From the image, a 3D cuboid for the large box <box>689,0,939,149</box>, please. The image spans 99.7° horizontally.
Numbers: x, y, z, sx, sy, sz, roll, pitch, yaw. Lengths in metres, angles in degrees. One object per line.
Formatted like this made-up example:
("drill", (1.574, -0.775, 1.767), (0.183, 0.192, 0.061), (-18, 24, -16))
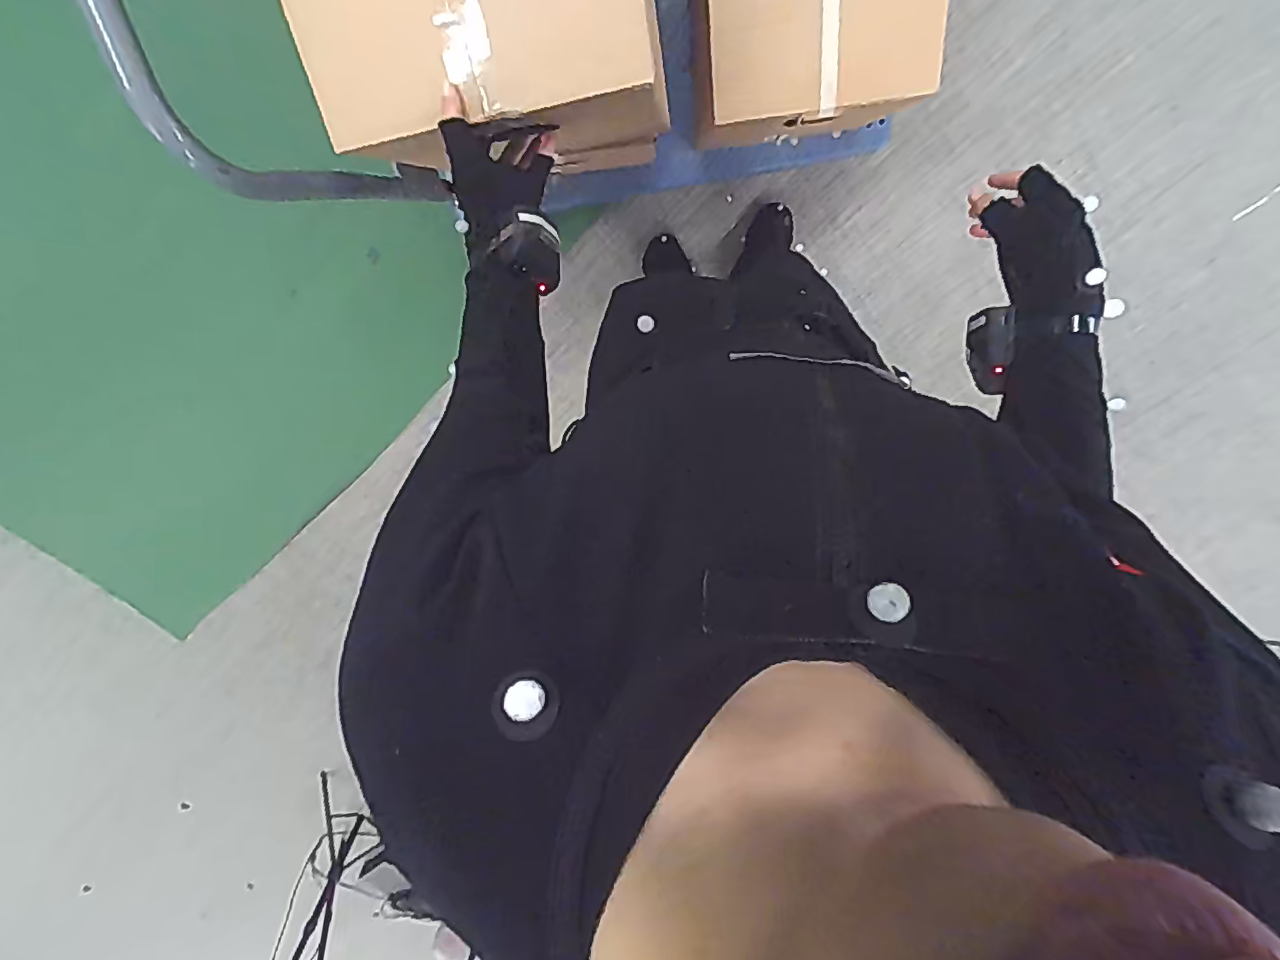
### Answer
("large box", (0.232, -0.766, 0.812), (0.320, 0.320, 0.408), (-5, 115, 4))
